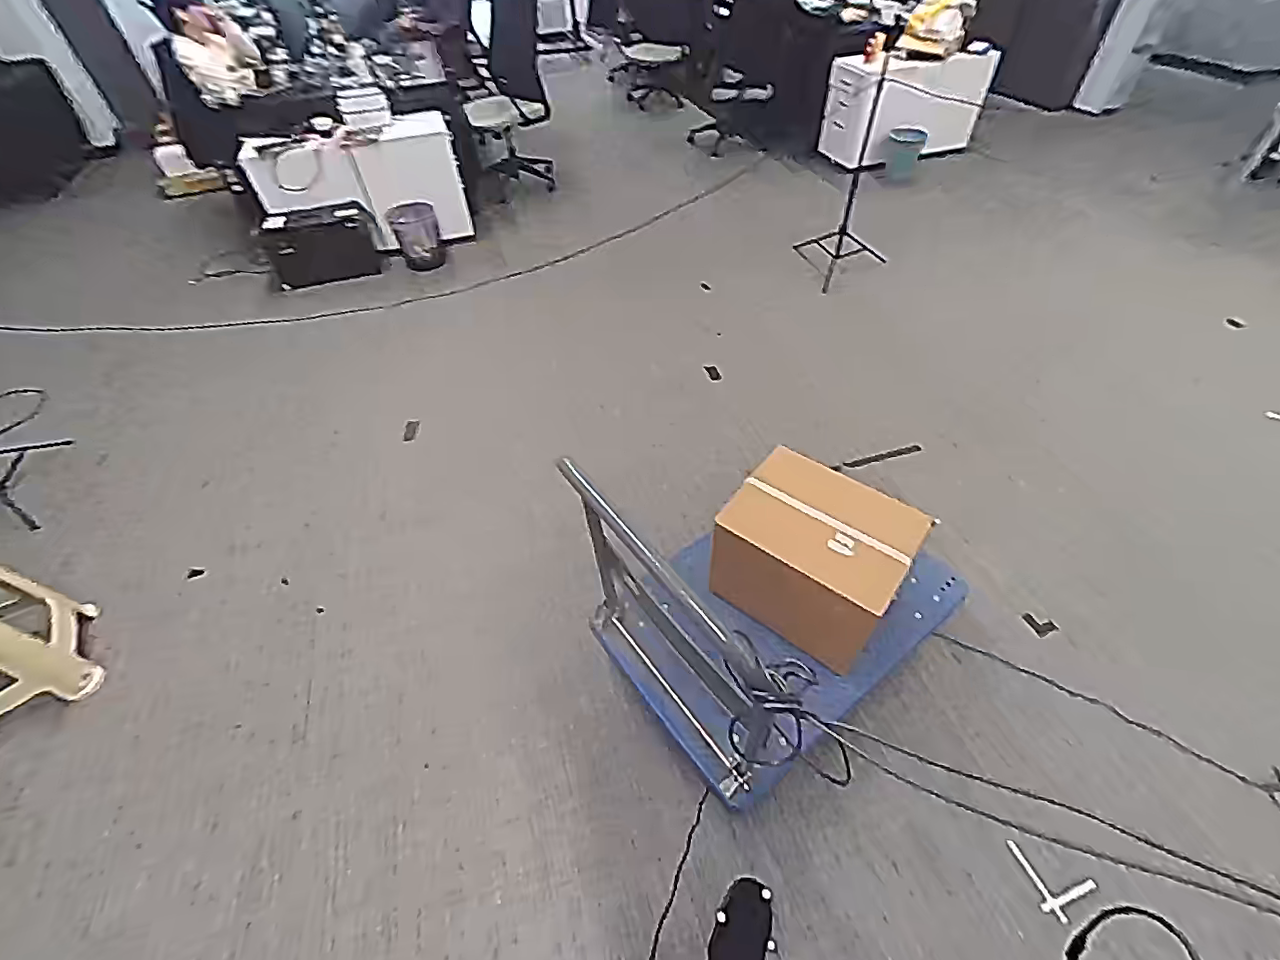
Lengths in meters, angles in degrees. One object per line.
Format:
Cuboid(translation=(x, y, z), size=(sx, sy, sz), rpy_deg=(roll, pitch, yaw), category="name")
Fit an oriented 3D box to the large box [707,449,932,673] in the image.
Cuboid(translation=(0.422, 0.194, 1.350), size=(0.408, 0.320, 0.320), rpy_deg=(30, 57, 25), category="large box")
